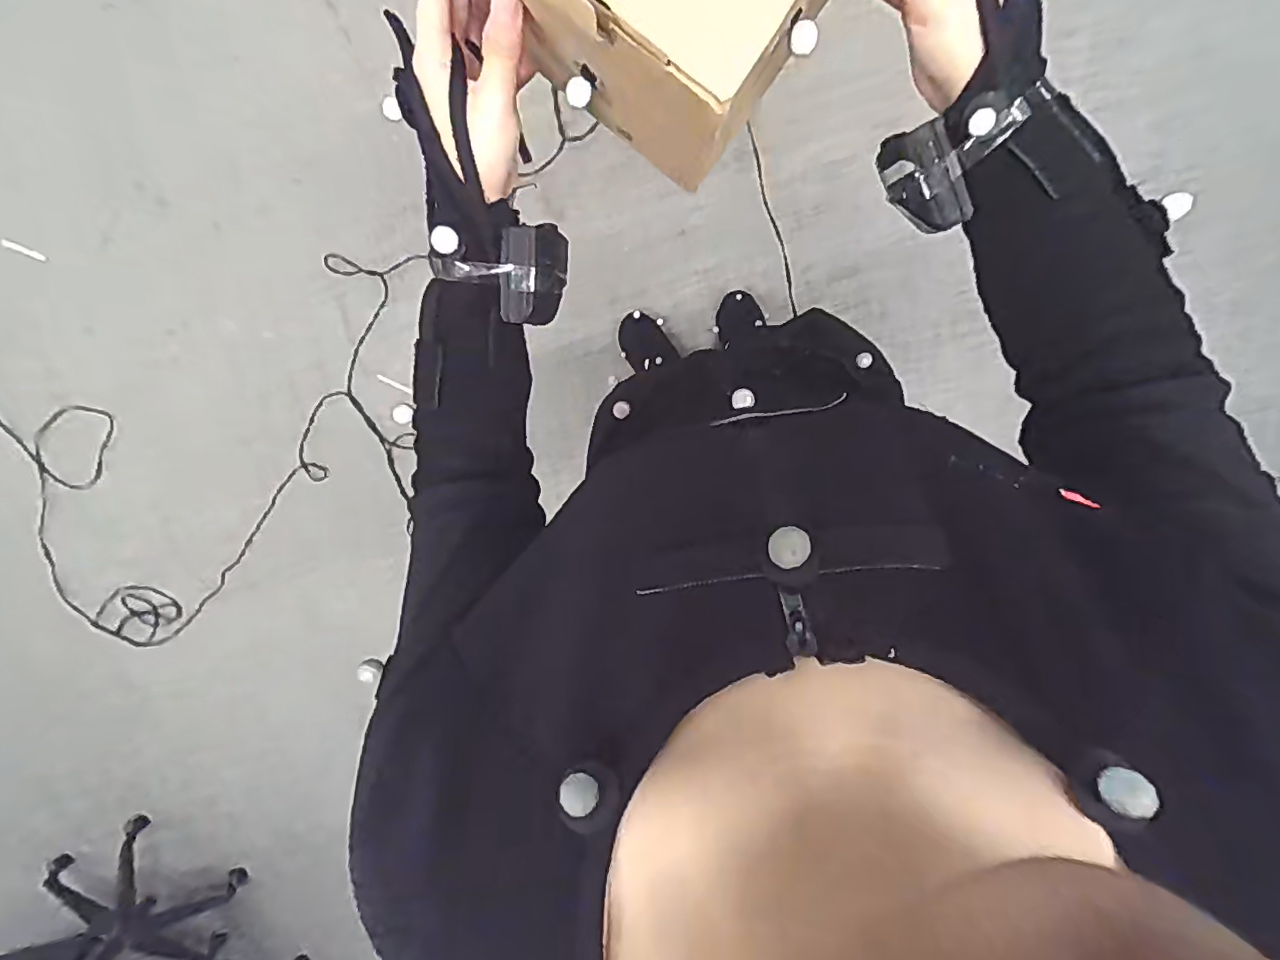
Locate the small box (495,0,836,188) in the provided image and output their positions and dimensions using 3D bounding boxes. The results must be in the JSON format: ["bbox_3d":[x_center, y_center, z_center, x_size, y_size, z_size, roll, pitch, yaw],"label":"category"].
[{"bbox_3d":[0.024,-0.291,0.284,0.168,0.176,0.179,35,105,-8],"label":"small box"}]
